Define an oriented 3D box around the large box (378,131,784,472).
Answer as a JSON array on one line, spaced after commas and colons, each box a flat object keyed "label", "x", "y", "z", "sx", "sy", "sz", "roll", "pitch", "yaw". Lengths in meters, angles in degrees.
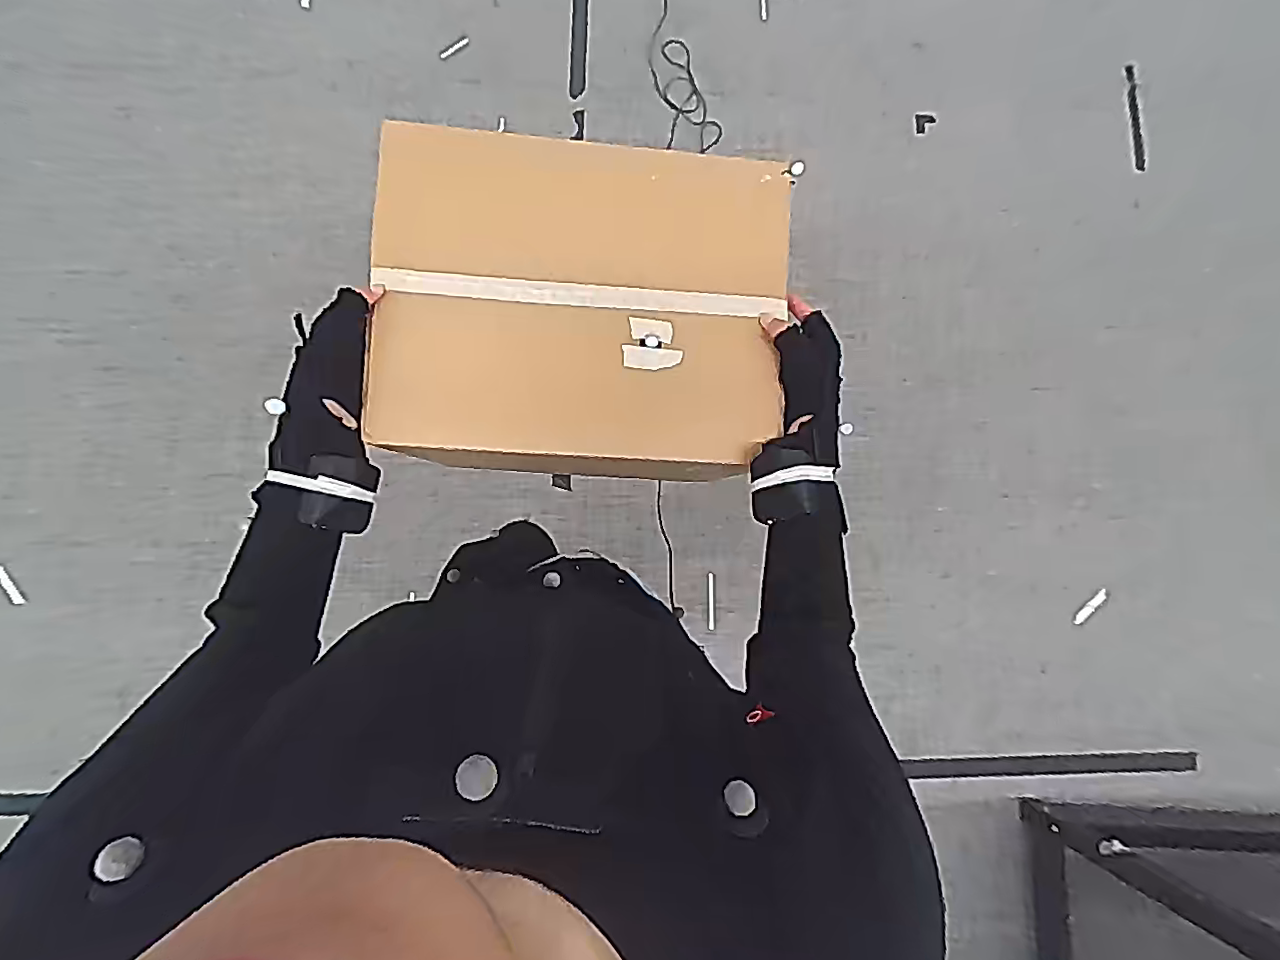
[{"label": "large box", "x": -0.067, "y": -0.179, "z": 0.692, "sx": 0.408, "sy": 0.320, "sz": 0.320, "roll": 3, "pitch": 88, "yaw": -6}]
